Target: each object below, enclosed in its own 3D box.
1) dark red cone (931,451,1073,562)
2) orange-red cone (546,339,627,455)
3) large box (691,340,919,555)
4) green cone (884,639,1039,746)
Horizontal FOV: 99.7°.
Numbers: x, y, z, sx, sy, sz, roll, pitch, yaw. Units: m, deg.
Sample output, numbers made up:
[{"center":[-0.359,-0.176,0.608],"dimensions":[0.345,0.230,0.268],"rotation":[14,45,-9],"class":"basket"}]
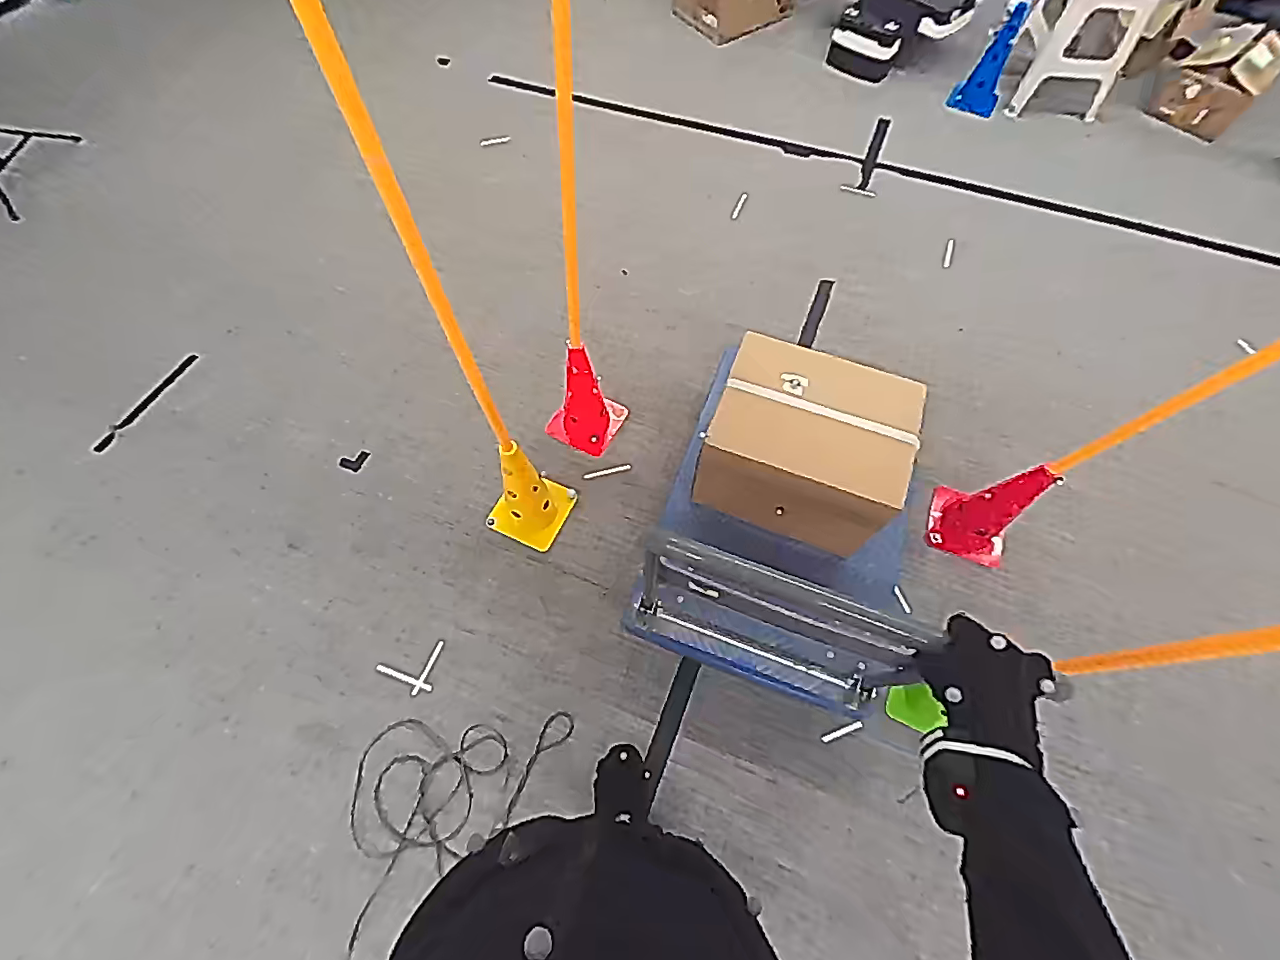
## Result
[{"center":[0.921,0.040,1.355],"dimensions":[0.201,0.394,0.202],"rotation":[21,66,8],"class":"dark red cone"},{"center":[-0.160,-0.264,1.520],"dimensions":[0.198,0.360,0.199],"rotation":[27,65,11],"class":"orange-red cone"},{"center":[0.363,-0.064,1.264],"dimensions":[0.408,0.320,0.320],"rotation":[20,66,10],"class":"large box"},{"center":[0.719,0.442,1.172],"dimensions":[0.202,0.368,0.200],"rotation":[24,66,10],"class":"green cone"}]
